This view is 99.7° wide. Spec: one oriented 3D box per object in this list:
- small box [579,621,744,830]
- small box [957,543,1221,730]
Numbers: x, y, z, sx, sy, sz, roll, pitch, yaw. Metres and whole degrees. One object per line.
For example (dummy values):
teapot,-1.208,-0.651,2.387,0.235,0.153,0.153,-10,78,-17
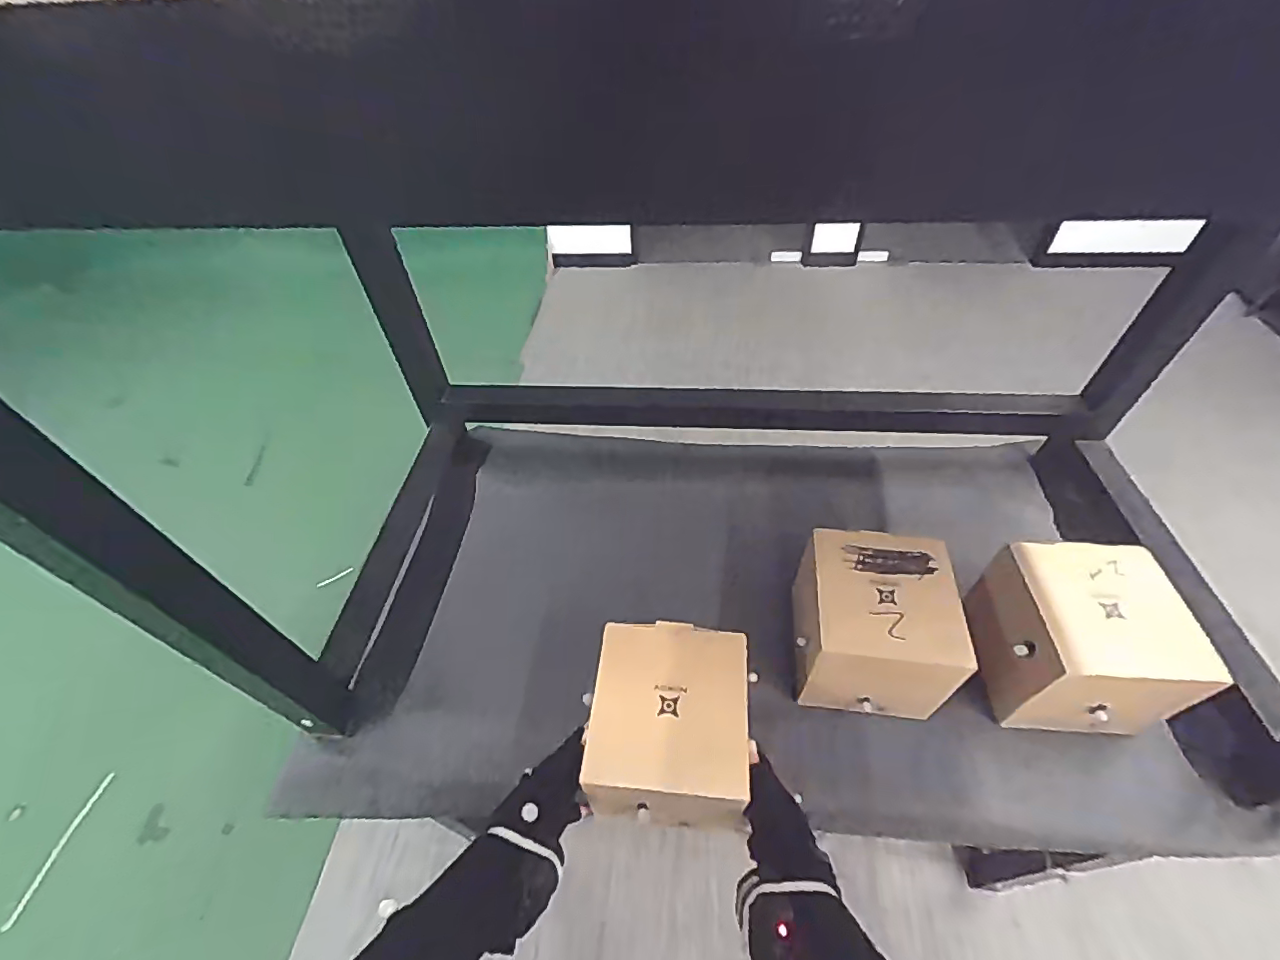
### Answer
small box,0.034,0.290,0.637,0.168,0.176,0.179,3,46,6
small box,0.540,0.200,0.686,0.168,0.176,0.179,2,47,5
